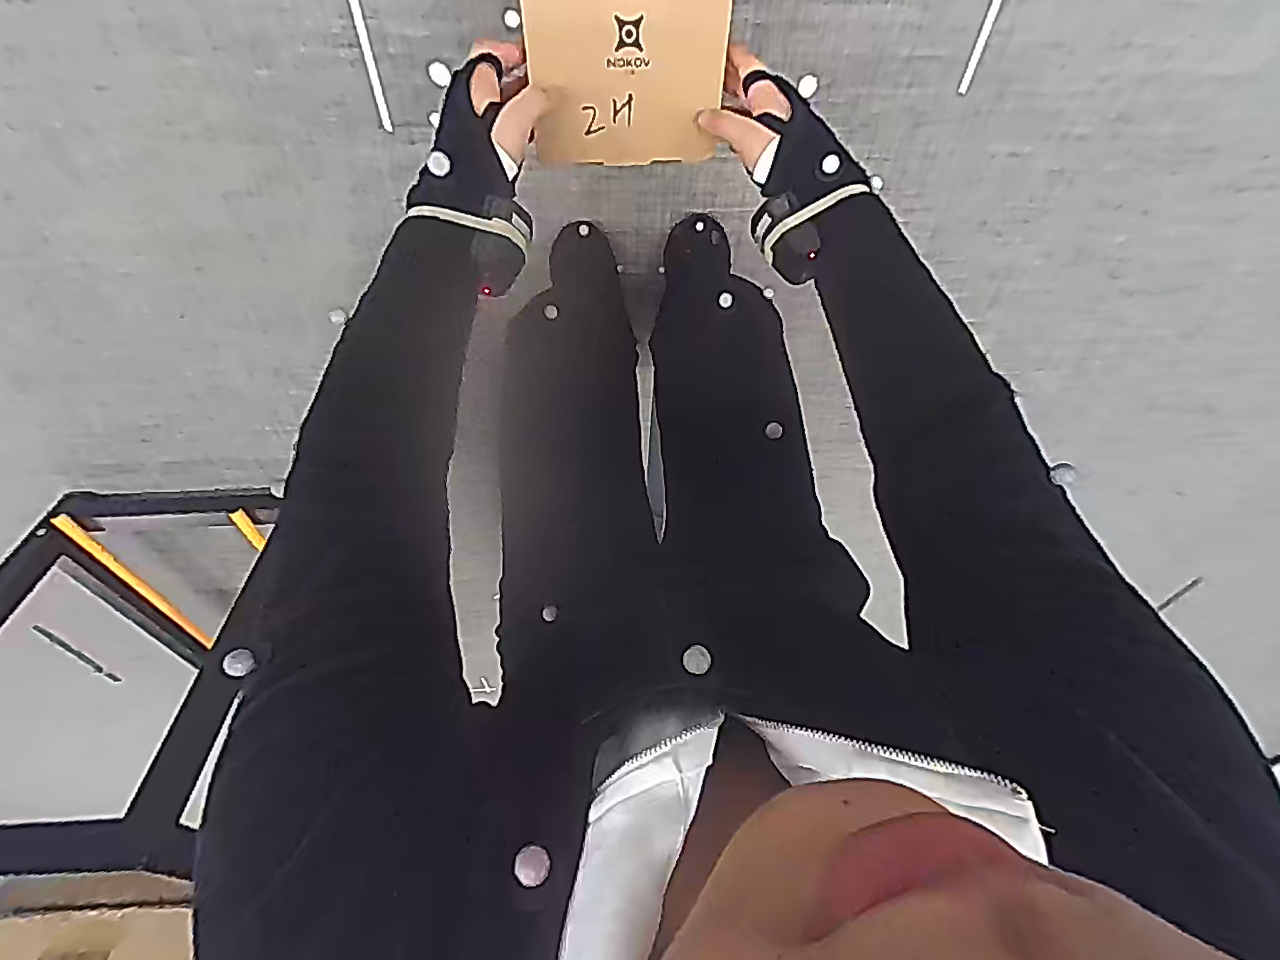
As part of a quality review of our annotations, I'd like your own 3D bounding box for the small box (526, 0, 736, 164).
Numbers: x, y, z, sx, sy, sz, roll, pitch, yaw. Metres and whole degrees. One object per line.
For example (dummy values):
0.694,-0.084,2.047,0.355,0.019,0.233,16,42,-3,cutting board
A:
-0.017,-0.407,0.484,0.168,0.176,0.179,-3,138,-5,small box
